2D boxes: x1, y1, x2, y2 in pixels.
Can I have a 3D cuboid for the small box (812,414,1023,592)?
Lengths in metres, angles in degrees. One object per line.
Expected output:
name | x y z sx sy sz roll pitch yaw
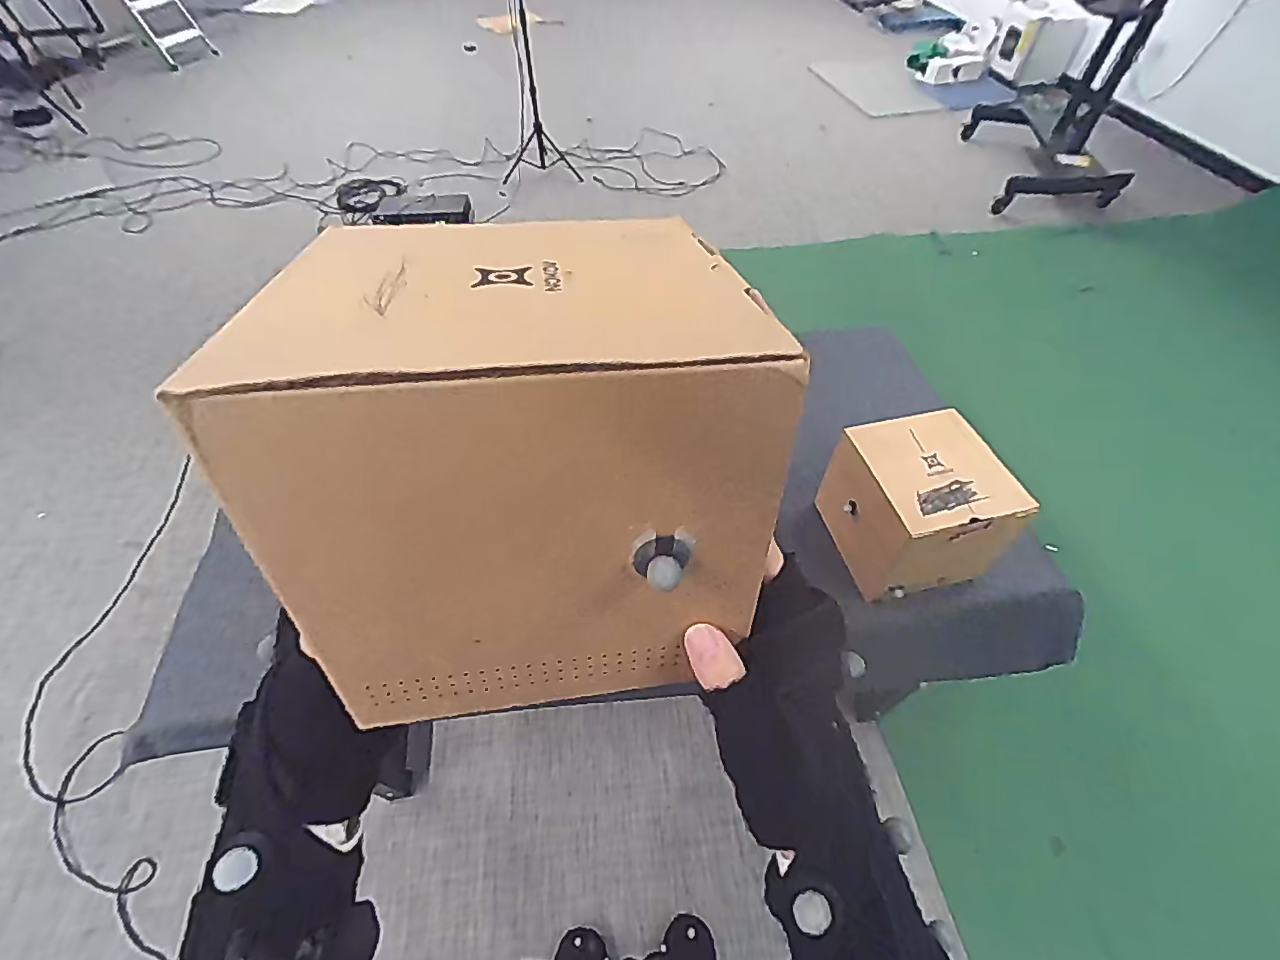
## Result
small box | 0.361 0.039 0.744 0.168 0.176 0.179 -10 51 -7

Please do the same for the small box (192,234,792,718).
small box | -0.051 -0.011 0.268 0.179 0.176 0.168 -6 37 -9
